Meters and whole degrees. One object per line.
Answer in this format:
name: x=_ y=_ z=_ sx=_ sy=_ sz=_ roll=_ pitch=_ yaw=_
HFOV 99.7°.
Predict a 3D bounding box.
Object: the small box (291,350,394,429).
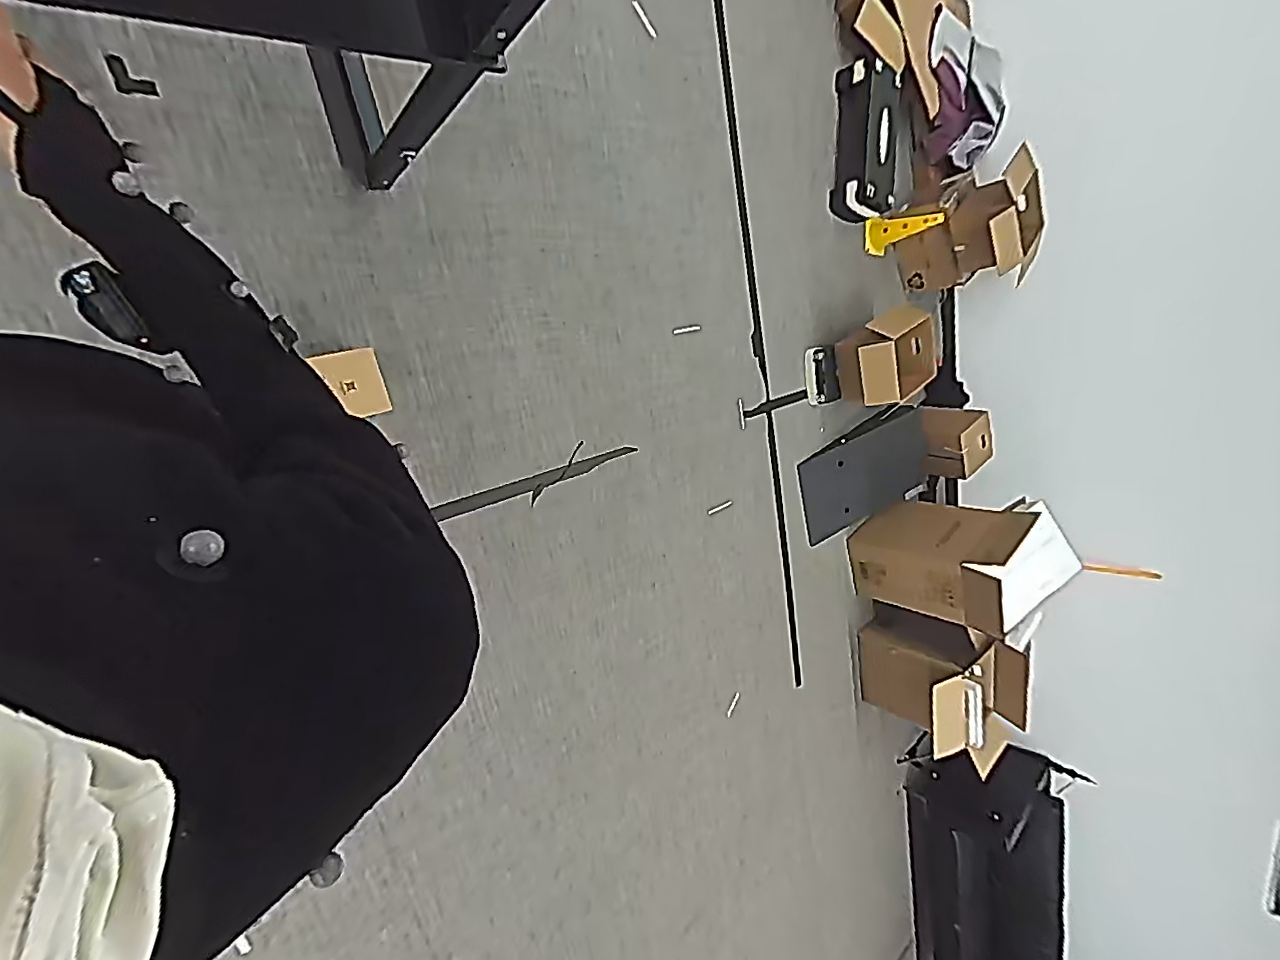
small box: x=-0.764 y=-0.234 z=1.385 sx=0.179 sy=0.176 sz=0.168 roll=-23 pitch=110 yaw=-34
